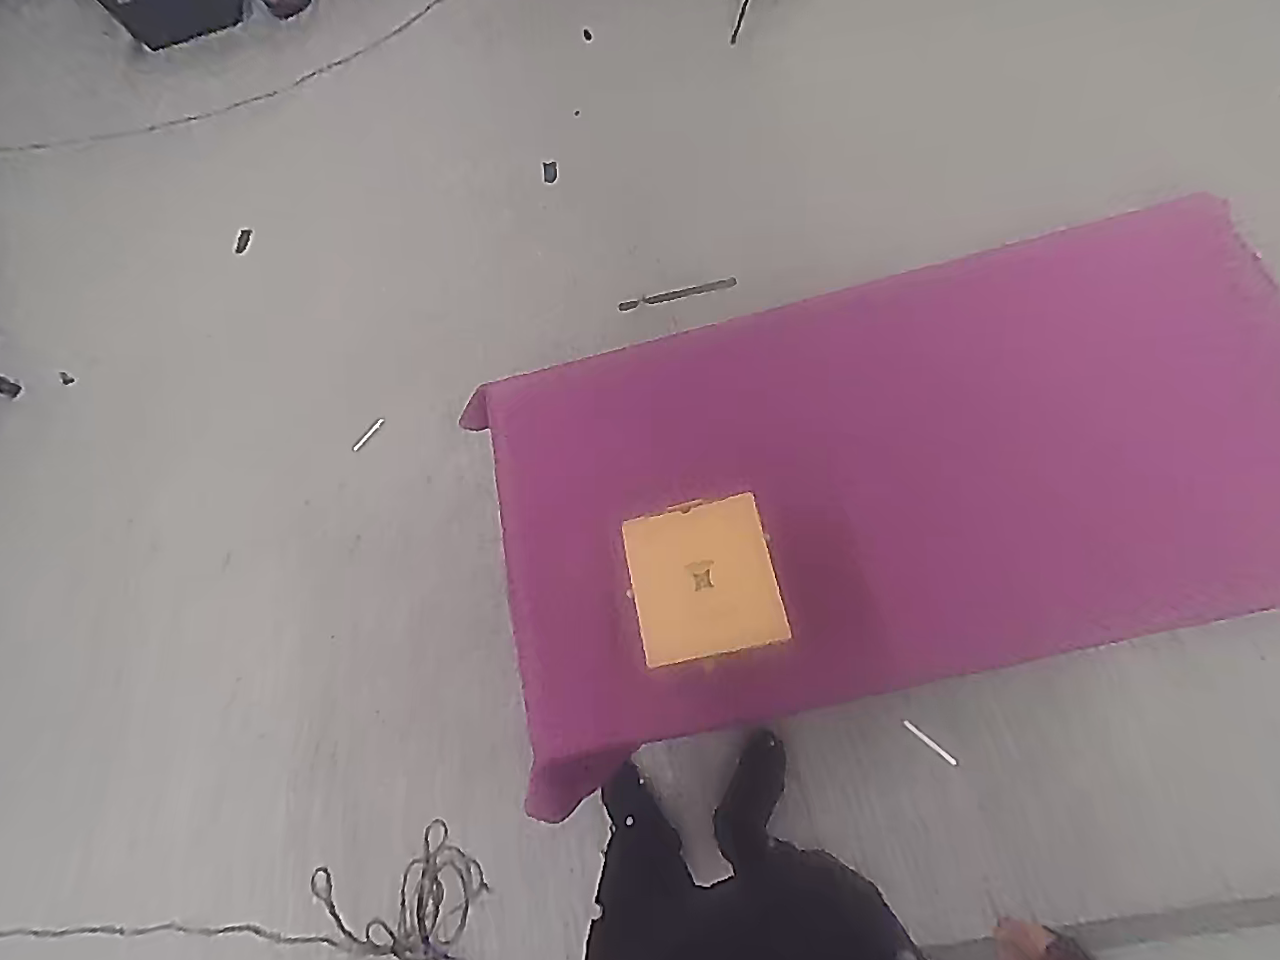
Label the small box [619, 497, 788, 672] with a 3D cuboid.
[{"bbox_3d":[0.079,0.141,0.691,0.168,0.176,0.179,-13,71,6],"label":"small box"}]
